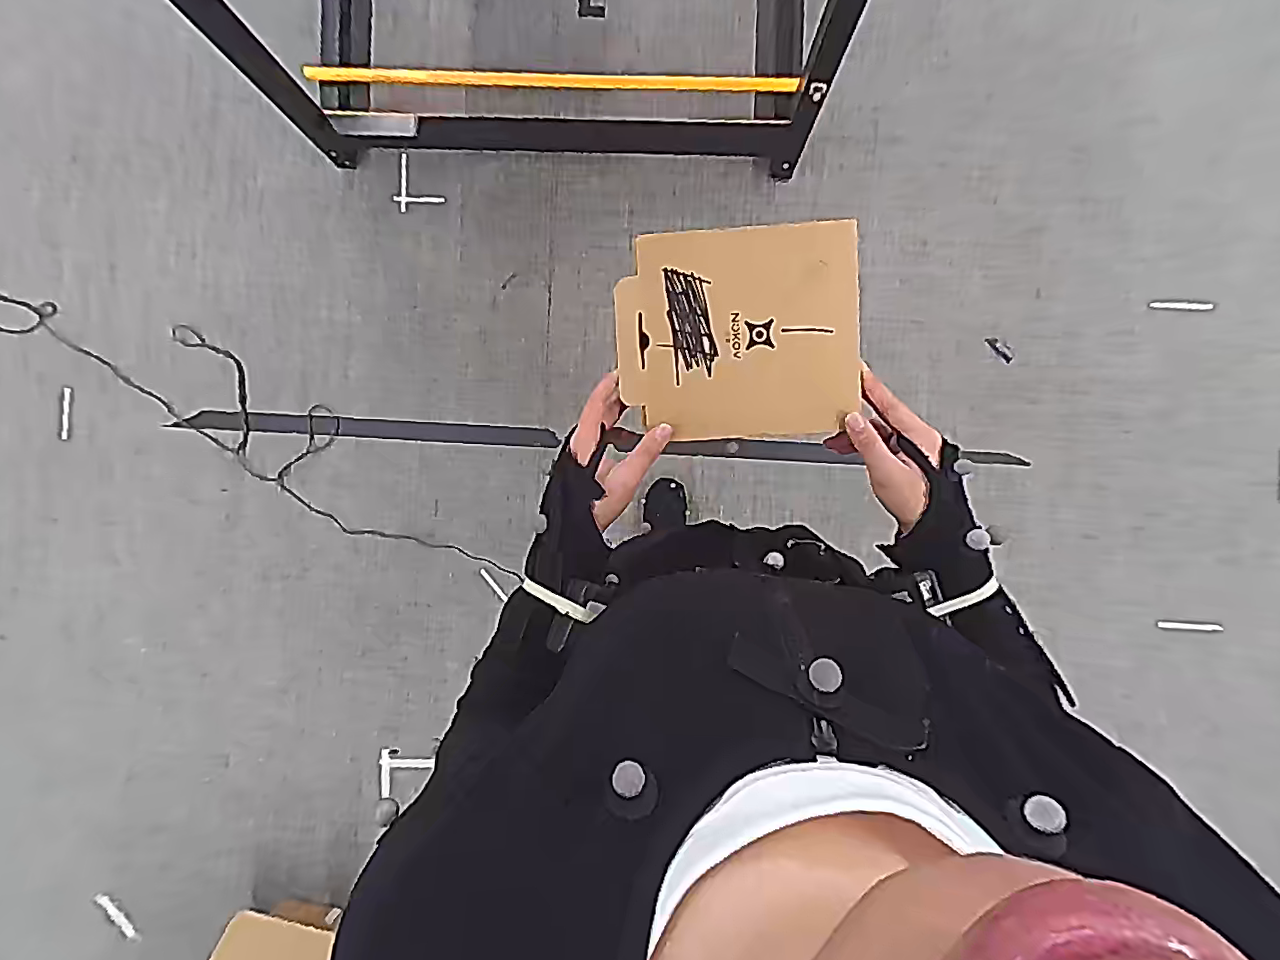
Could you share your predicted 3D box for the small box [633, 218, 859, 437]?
[{"bbox_3d":[0.089,-0.126,0.511,0.179,0.176,0.168,-3,95,2],"label":"small box"}]
